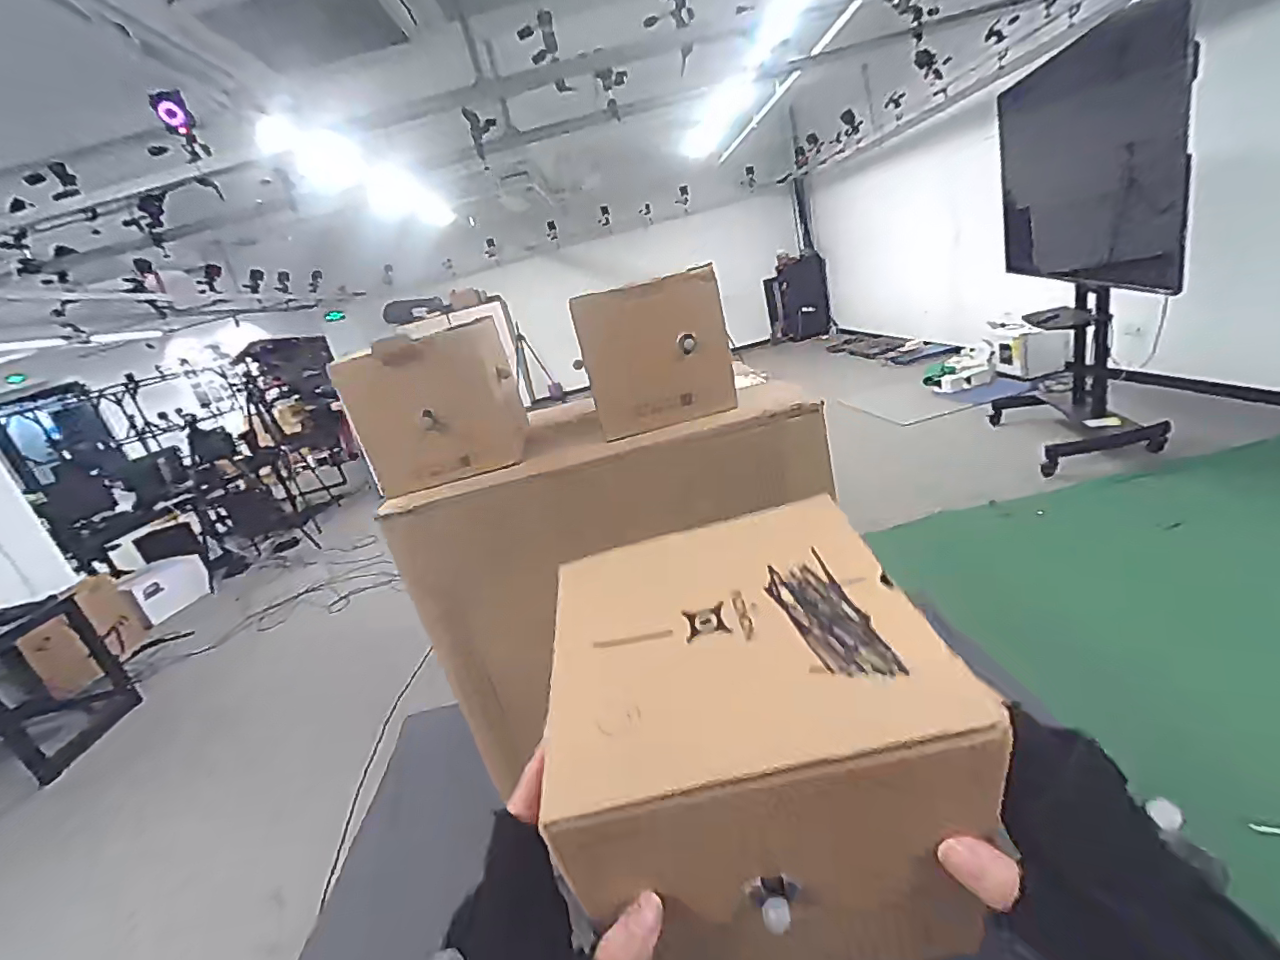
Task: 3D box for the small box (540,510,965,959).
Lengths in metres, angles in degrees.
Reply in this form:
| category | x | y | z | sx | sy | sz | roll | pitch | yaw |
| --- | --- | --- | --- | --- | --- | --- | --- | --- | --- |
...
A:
| category | x | y | z | sx | sy | sz | roll | pitch | yaw |
| --- | --- | --- | --- | --- | --- | --- | --- | --- | --- |
| small box | 0.055 | 0.145 | 0.322 | 0.179 | 0.176 | 0.168 | -13 | 27 | 2 |

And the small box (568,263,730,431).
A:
| category | x | y | z | sx | sy | sz | roll | pitch | yaw |
| --- | --- | --- | --- | --- | --- | --- | --- | --- | --- |
| small box | 0.009 | -0.170 | 0.695 | 0.168 | 0.176 | 0.179 | -13 | 20 | -1 |

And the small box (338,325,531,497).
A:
| category | x | y | z | sx | sy | sz | roll | pitch | yaw |
| --- | --- | --- | --- | --- | --- | --- | --- | --- | --- |
| small box | -0.249 | -0.091 | 0.707 | 0.168 | 0.176 | 0.179 | -17 | 21 | -3 |
